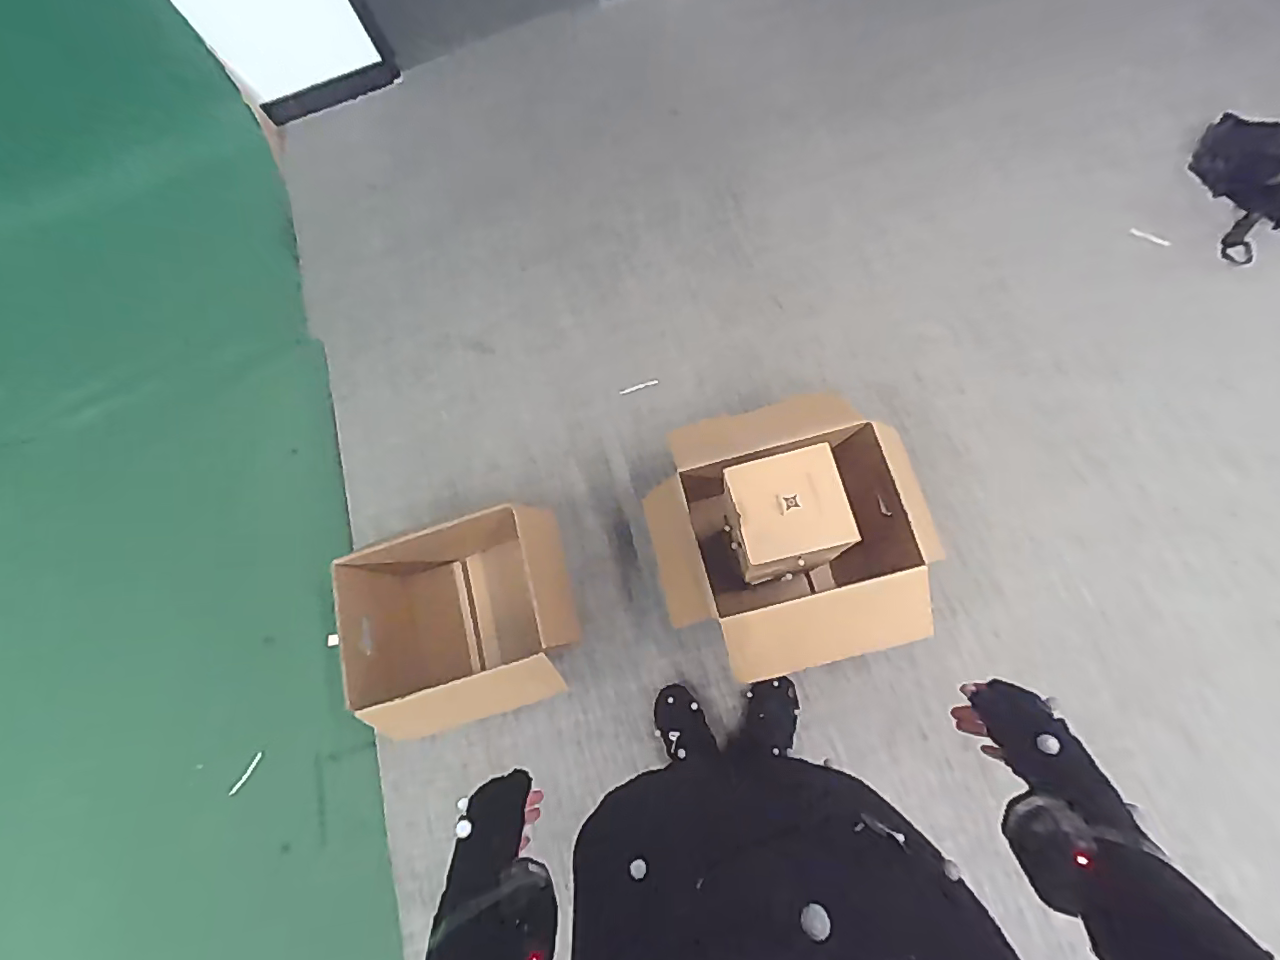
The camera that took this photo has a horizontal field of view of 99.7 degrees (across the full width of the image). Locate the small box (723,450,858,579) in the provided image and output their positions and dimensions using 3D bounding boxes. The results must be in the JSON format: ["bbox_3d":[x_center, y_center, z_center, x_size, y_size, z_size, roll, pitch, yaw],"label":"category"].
[{"bbox_3d":[0.250,0.069,0.939,0.179,0.176,0.168,-16,74,4],"label":"small box"}]
